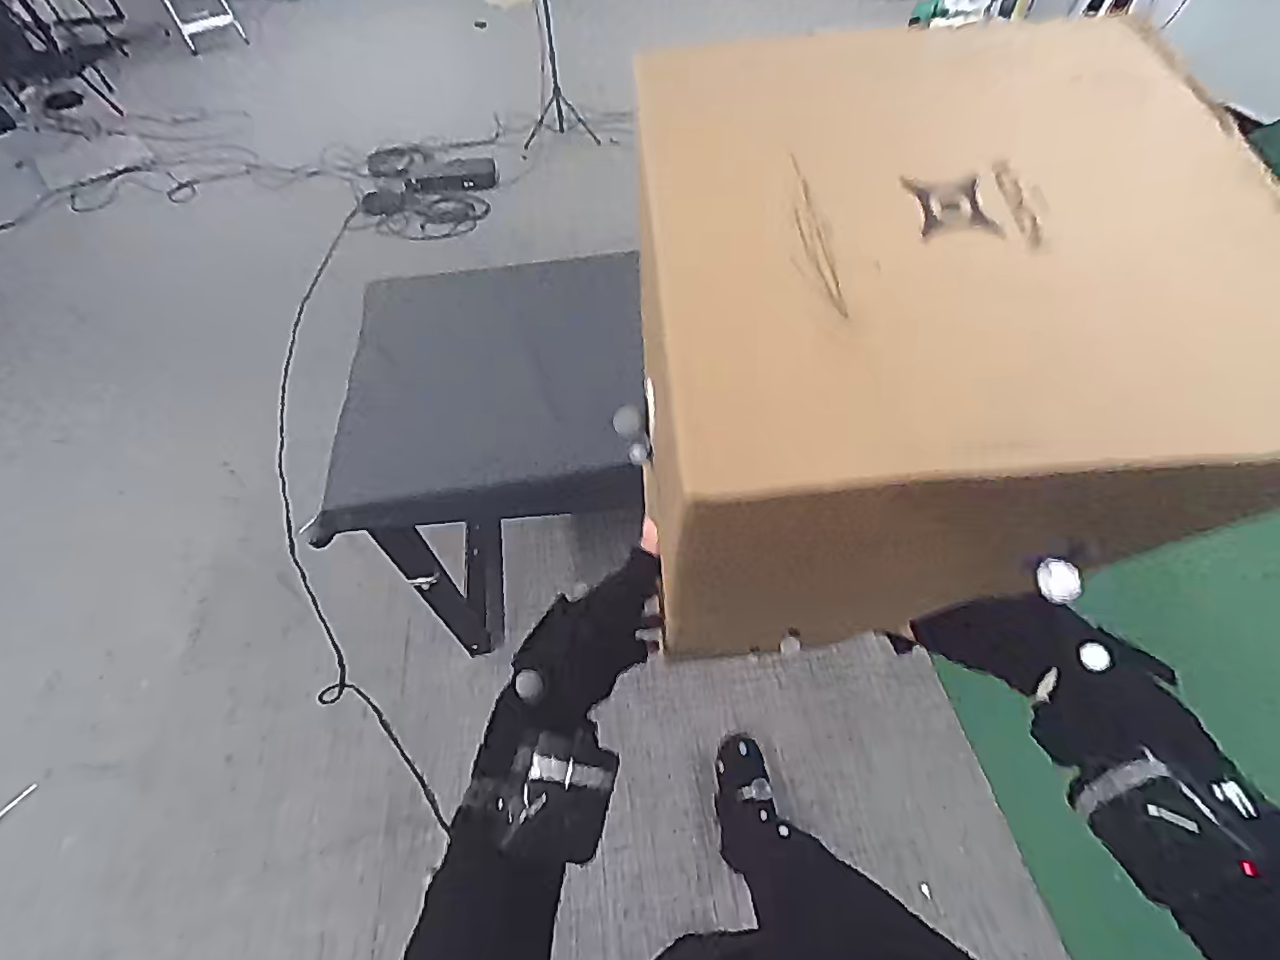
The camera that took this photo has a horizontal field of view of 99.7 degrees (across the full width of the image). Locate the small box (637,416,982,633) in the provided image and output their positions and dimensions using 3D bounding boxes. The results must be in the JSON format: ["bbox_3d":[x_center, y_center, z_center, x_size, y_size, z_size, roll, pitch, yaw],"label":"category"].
[{"bbox_3d":[0.092,0.010,0.388,0.179,0.176,0.168,-8,69,-1],"label":"small box"}]

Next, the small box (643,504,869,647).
[{"bbox_3d":[0.095,0.068,0.538,0.179,0.176,0.168,-6,67,0],"label":"small box"}]

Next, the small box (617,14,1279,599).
[{"bbox_3d":[0.086,-0.050,0.234,0.179,0.176,0.168,-5,67,1],"label":"small box"}]
